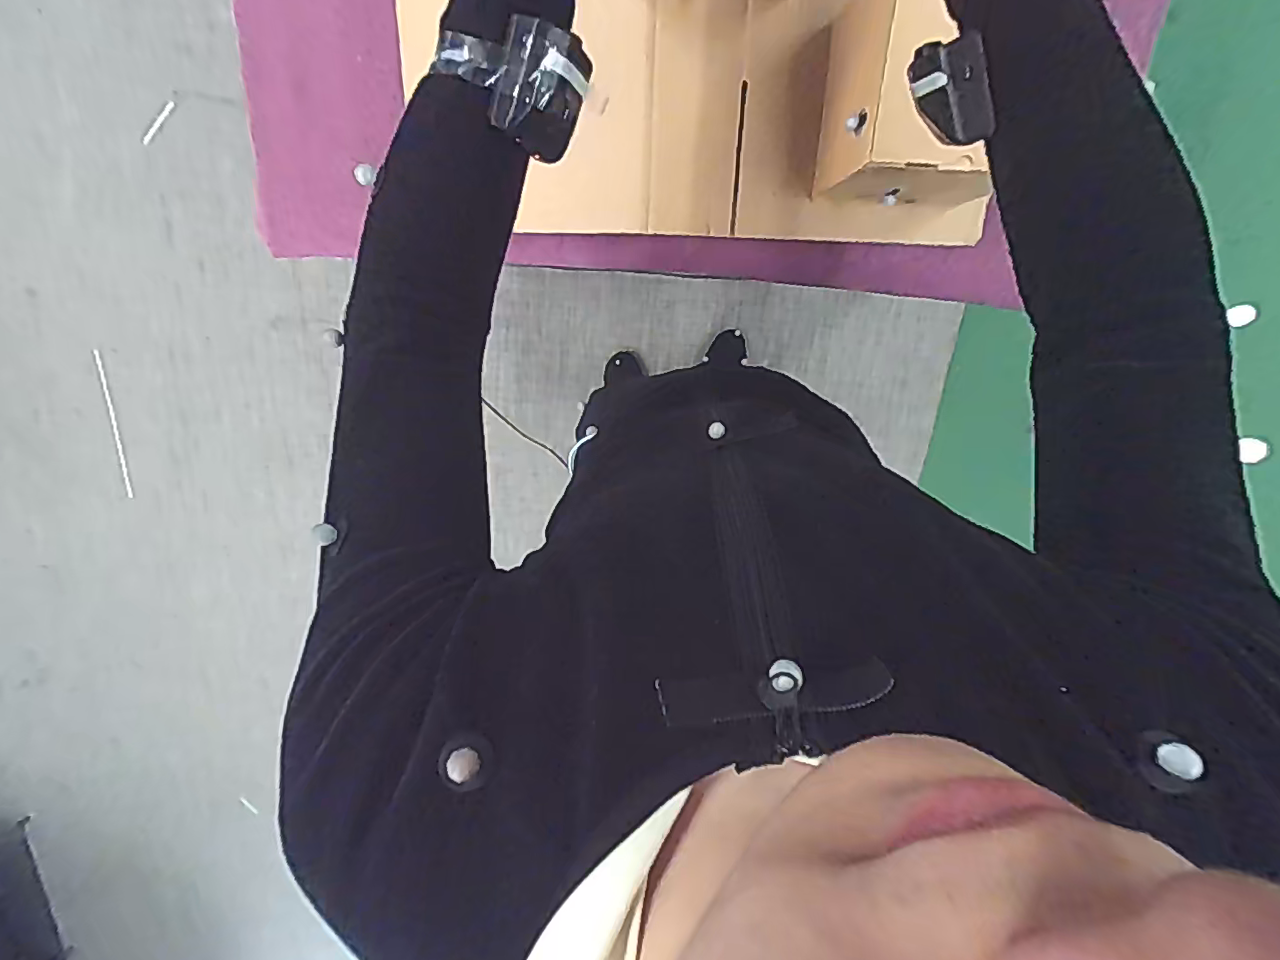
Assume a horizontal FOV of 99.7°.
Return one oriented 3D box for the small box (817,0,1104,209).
[{"bbox_3d":[0.281,-0.370,0.511,0.168,0.176,0.179,2,109,0],"label":"small box"}]
